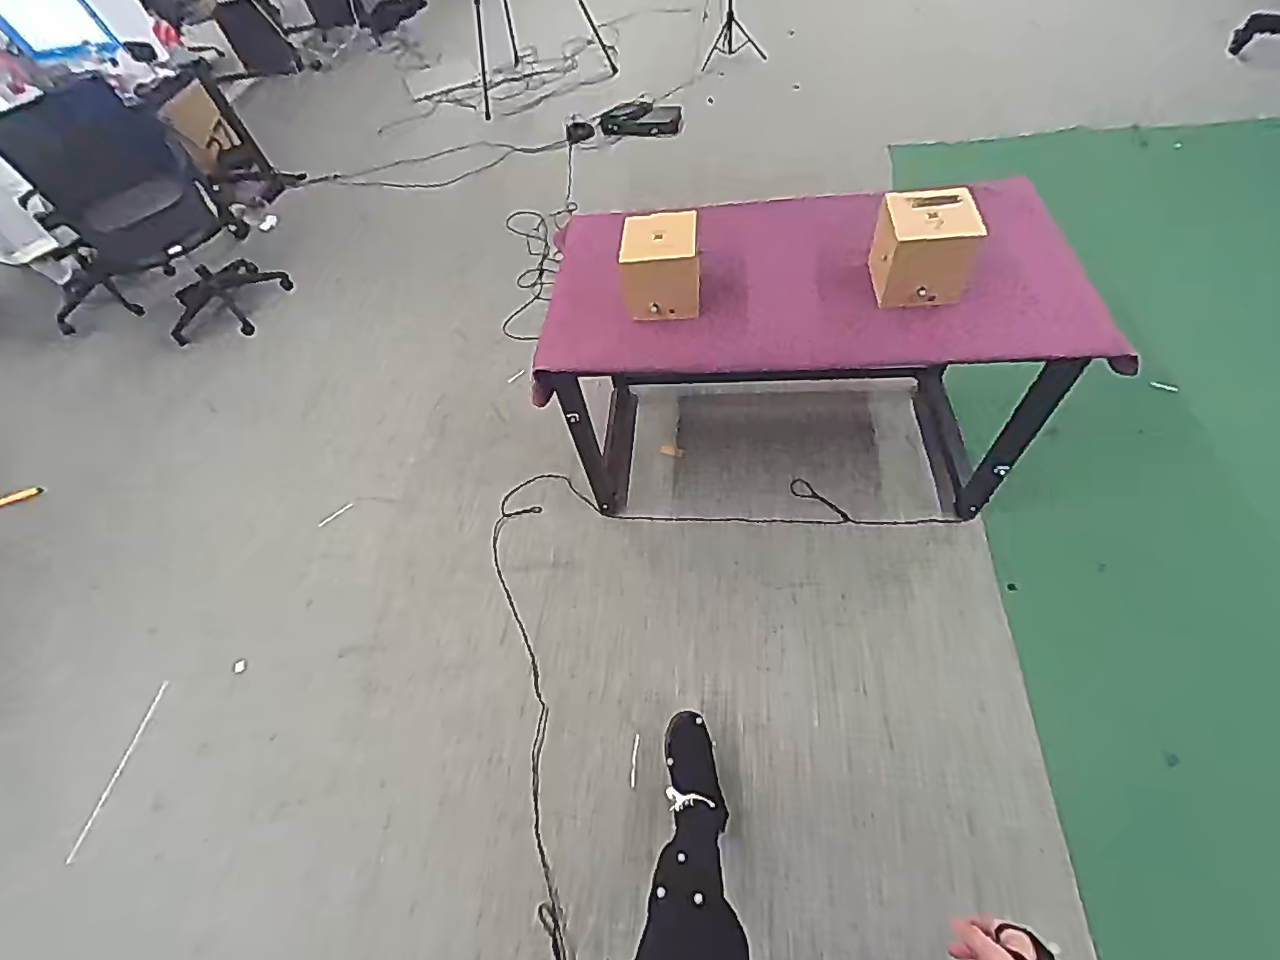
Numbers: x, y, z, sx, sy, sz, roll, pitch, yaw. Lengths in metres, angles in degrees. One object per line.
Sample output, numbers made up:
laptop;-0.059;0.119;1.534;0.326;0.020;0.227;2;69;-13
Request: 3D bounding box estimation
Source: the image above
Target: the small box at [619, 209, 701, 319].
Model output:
small box;0.053;-0.495;1.247;0.168;0.176;0.179;0;56;9
